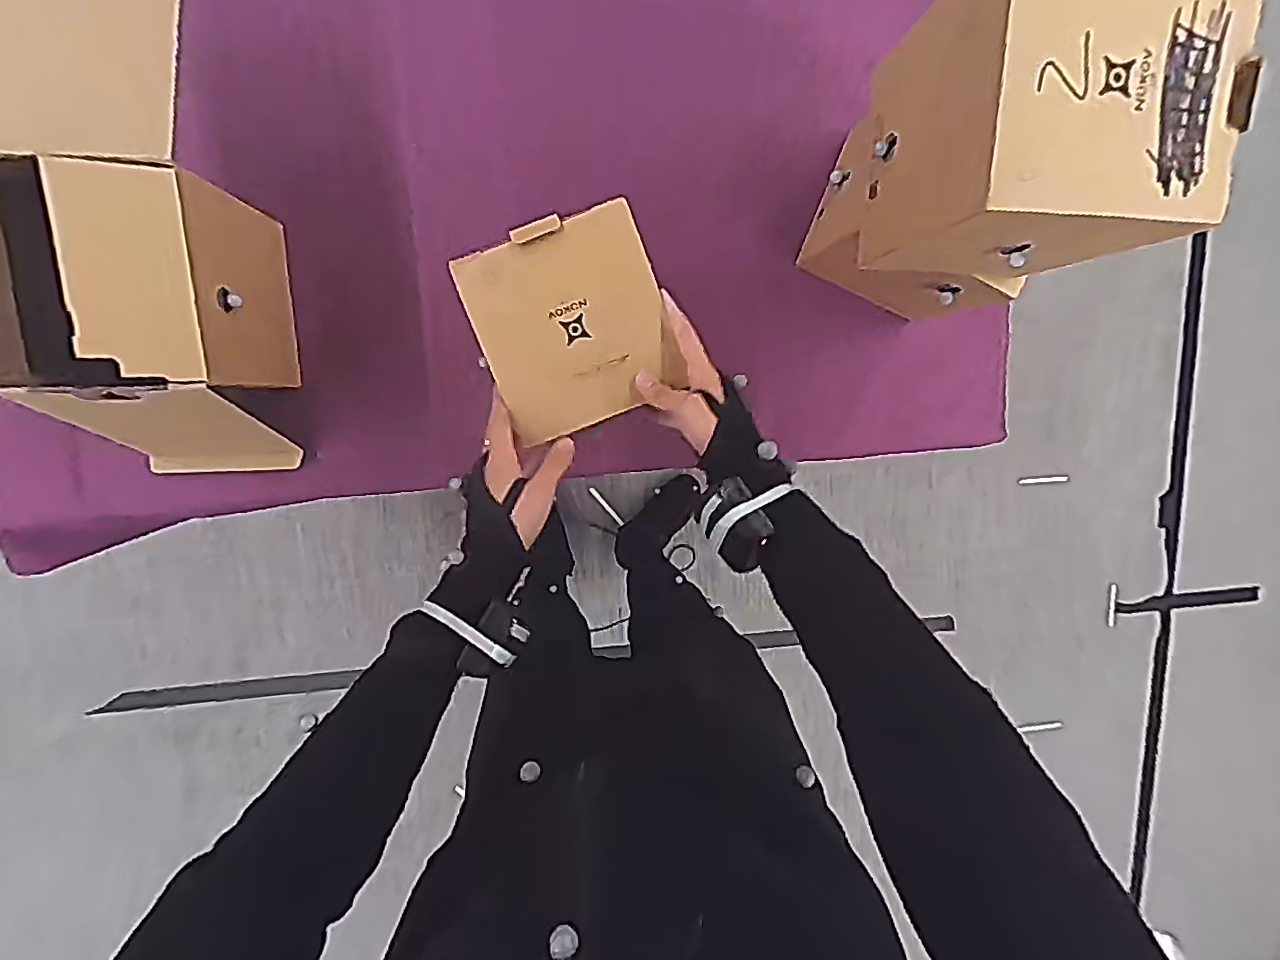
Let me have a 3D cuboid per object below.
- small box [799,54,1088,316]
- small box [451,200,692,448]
[{"bbox_3d":[0.307,-0.290,0.584,0.179,0.176,0.168,22,96,-10],"label":"small box"},{"bbox_3d":[-0.065,-0.145,0.557,0.168,0.176,0.179,-23,99,-1],"label":"small box"}]
